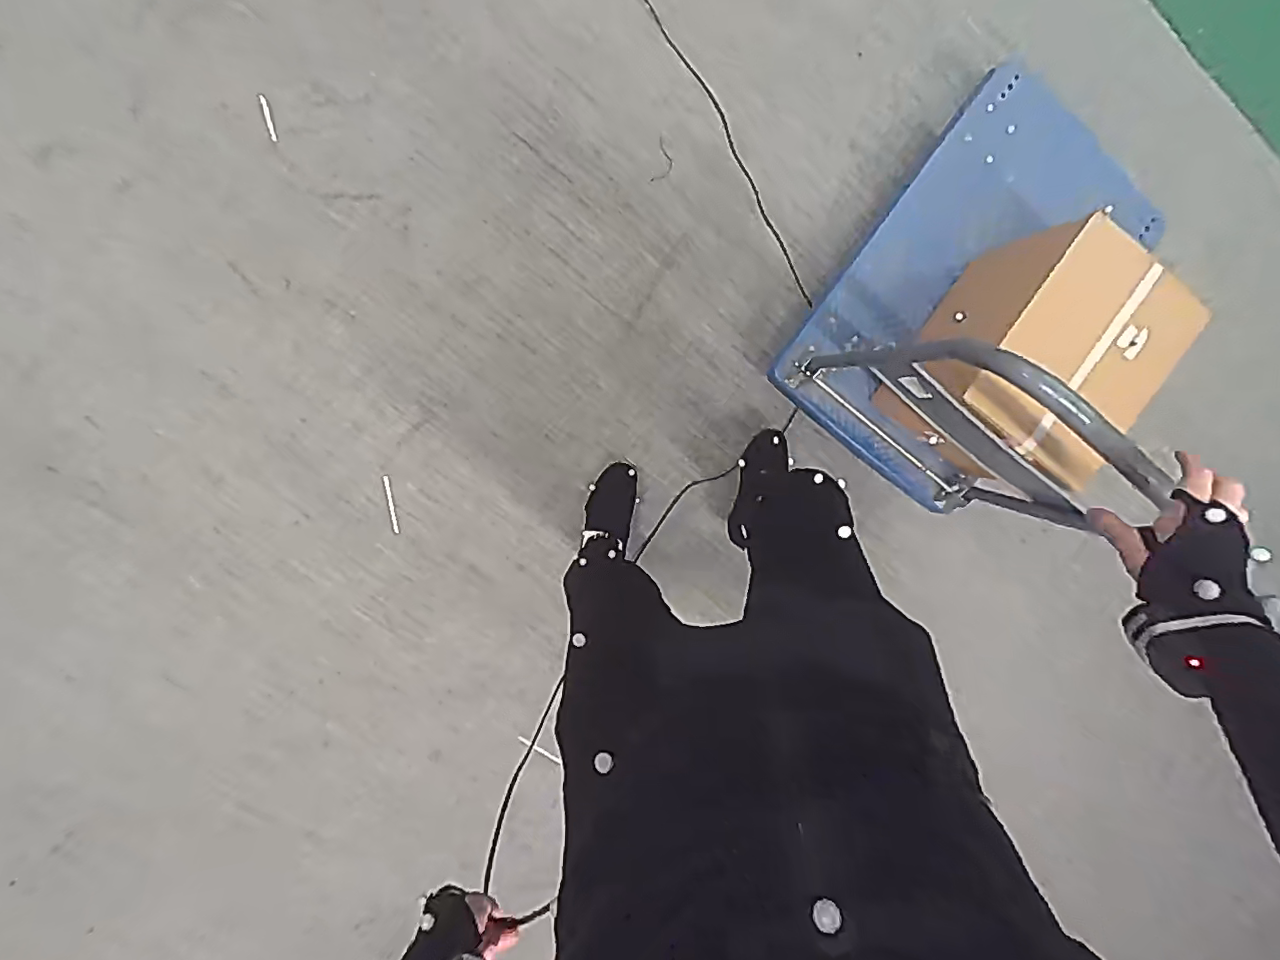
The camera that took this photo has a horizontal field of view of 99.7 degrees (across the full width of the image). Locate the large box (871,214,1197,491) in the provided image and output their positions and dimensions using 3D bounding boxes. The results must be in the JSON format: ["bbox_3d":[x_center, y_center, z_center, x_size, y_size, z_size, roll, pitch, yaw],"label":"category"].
[{"bbox_3d":[0.777,-0.238,1.124,0.320,0.320,0.408,35,91,-10],"label":"large box"}]
